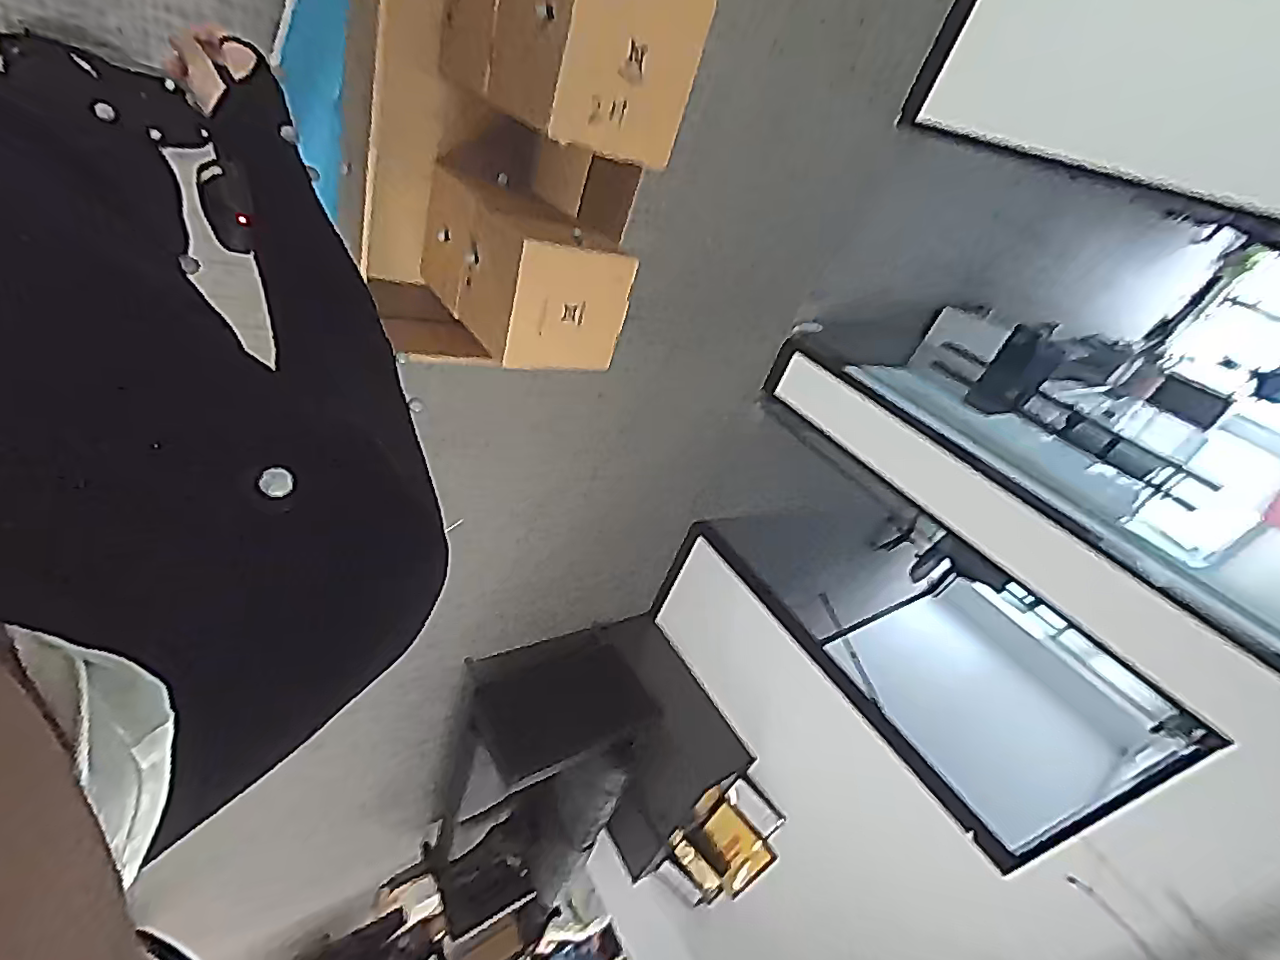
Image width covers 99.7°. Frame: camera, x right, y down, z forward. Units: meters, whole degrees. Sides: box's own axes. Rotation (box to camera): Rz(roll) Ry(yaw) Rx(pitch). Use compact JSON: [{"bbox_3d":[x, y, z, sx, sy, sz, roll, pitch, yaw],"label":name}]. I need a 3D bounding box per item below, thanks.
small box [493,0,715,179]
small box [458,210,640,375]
[{"bbox_3d":[-0.052,-0.480,0.617,0.168,0.176,0.179,-7,133,-39],"label":"small box"},{"bbox_3d":[-0.135,-0.263,0.768,0.179,0.176,0.168,-8,131,-39],"label":"small box"}]
